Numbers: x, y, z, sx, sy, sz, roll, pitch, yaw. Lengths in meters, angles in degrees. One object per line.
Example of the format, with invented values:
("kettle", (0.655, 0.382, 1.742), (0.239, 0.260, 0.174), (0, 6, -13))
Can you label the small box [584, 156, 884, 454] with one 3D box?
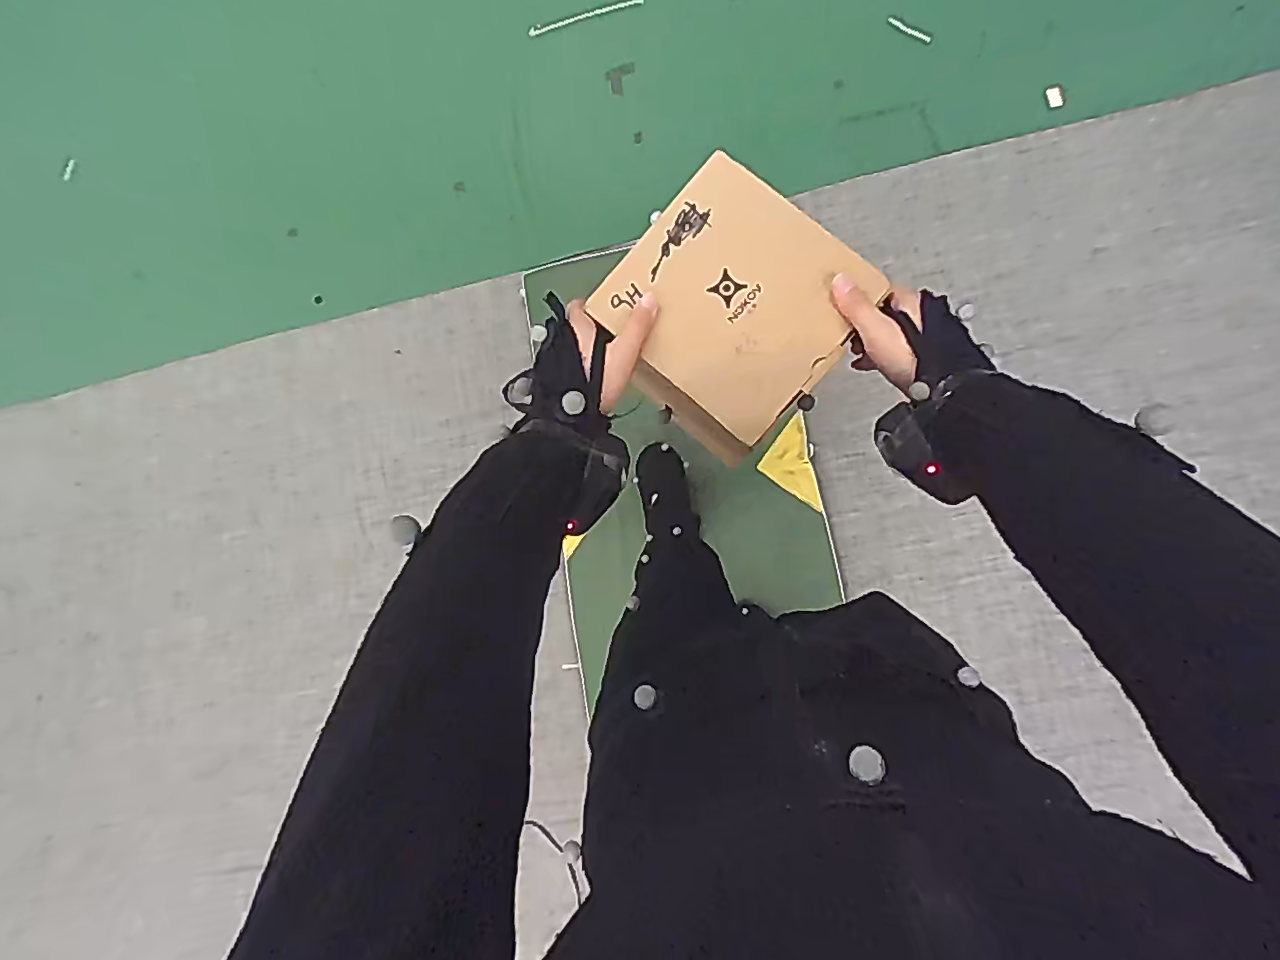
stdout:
("small box", (0.077, -0.138, 0.499), (0.179, 0.176, 0.168), (41, 90, 5))
